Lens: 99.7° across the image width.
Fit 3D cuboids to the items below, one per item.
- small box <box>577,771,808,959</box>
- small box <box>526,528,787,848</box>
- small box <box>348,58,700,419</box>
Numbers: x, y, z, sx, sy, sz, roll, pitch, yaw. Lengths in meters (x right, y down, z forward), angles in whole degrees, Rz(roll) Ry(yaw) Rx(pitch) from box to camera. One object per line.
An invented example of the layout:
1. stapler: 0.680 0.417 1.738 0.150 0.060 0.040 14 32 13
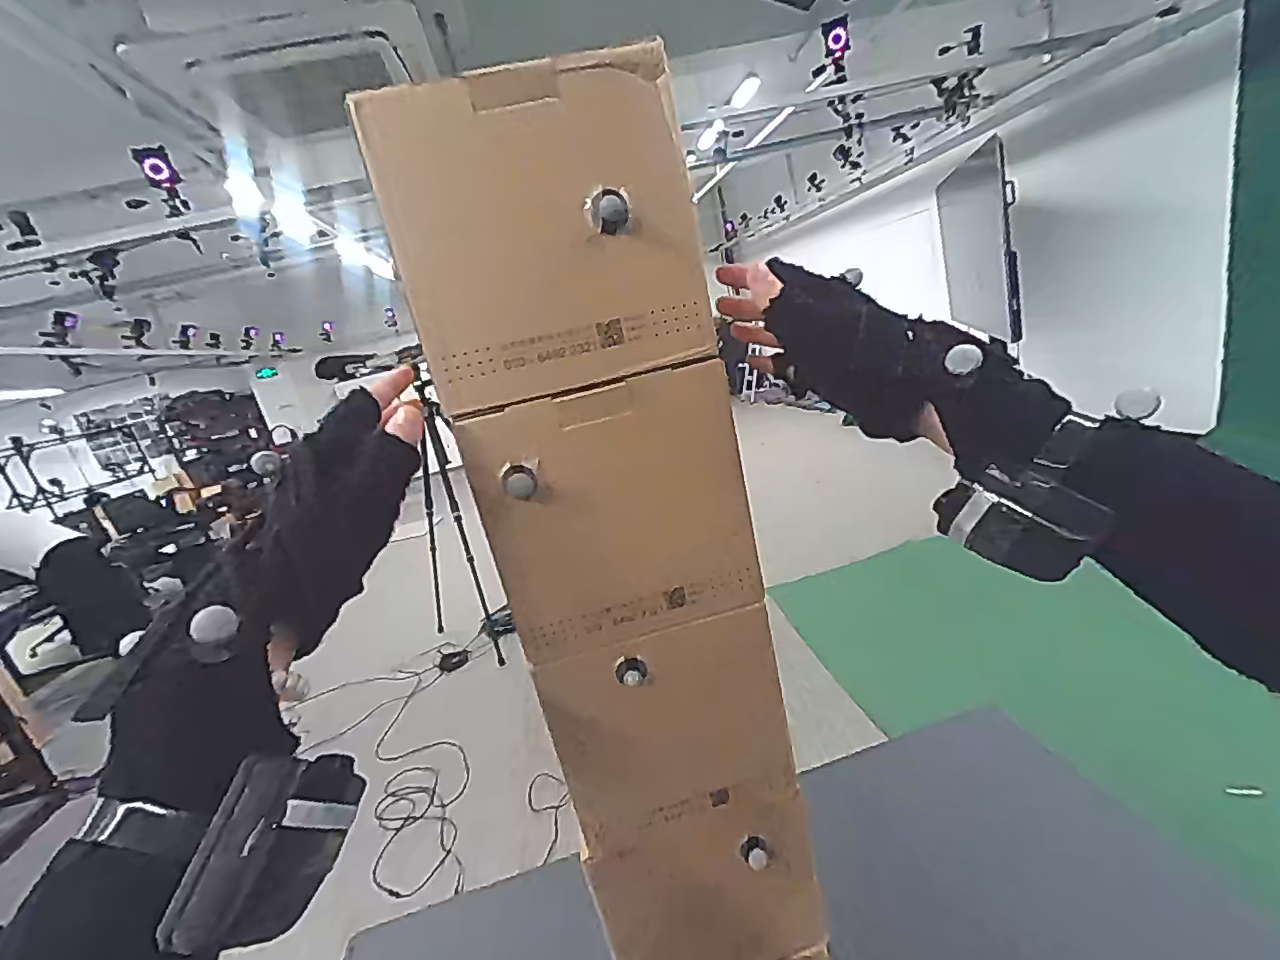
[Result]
1. small box: 0.043 0.317 0.509 0.179 0.176 0.168 -15 15 -5
2. small box: 0.010 0.162 0.467 0.168 0.176 0.179 -15 15 -4
3. small box: -0.064 -0.147 0.382 0.168 0.176 0.179 -13 16 -3
